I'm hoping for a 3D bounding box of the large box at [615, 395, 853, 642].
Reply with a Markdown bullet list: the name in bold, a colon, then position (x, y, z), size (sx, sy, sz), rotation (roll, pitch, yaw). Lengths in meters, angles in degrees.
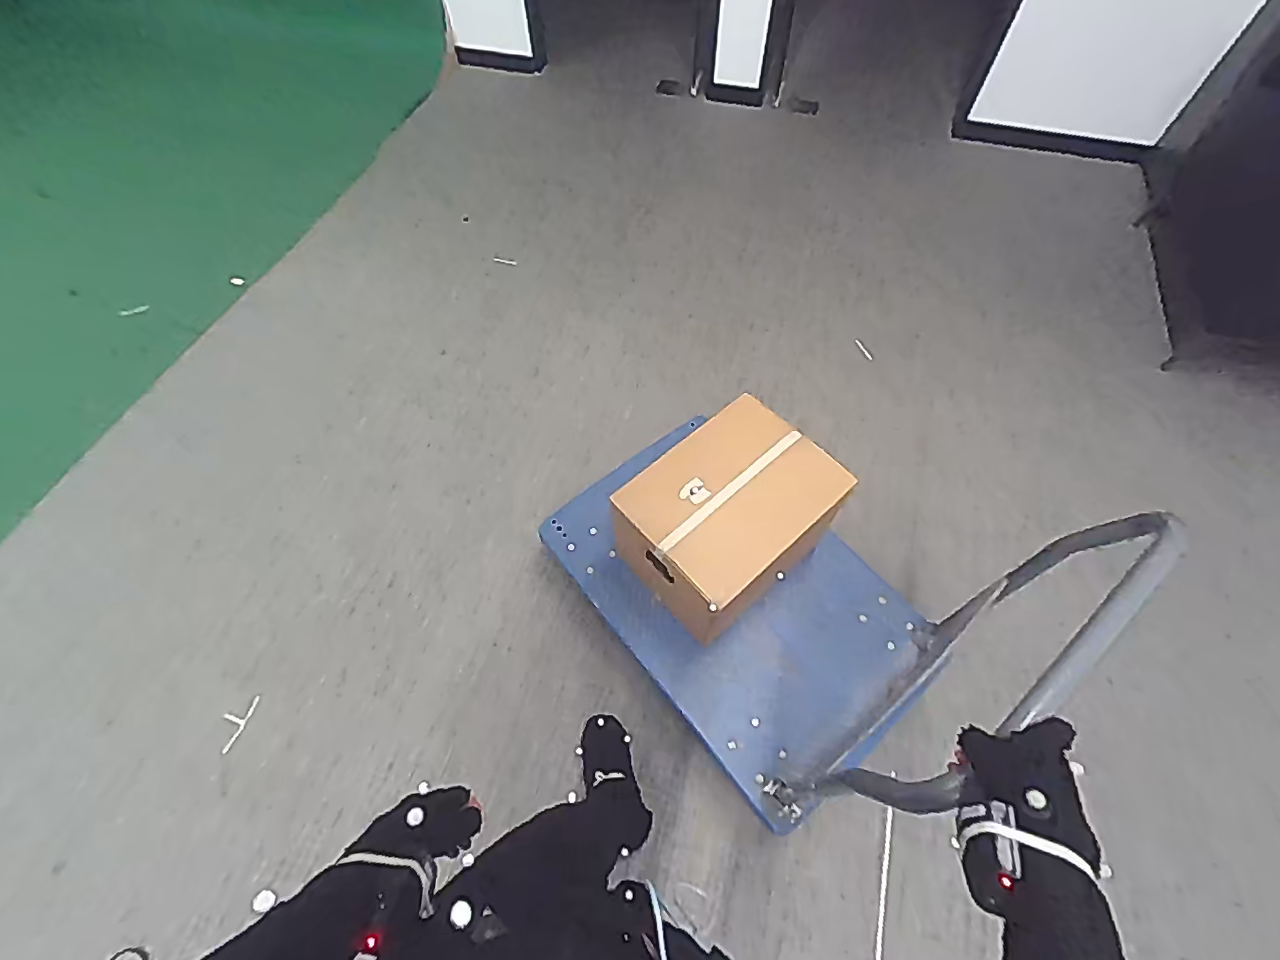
- **large box**: position (0.197, 0.091, 1.229), size (0.408, 0.320, 0.320), rotation (-39, 66, -18)
